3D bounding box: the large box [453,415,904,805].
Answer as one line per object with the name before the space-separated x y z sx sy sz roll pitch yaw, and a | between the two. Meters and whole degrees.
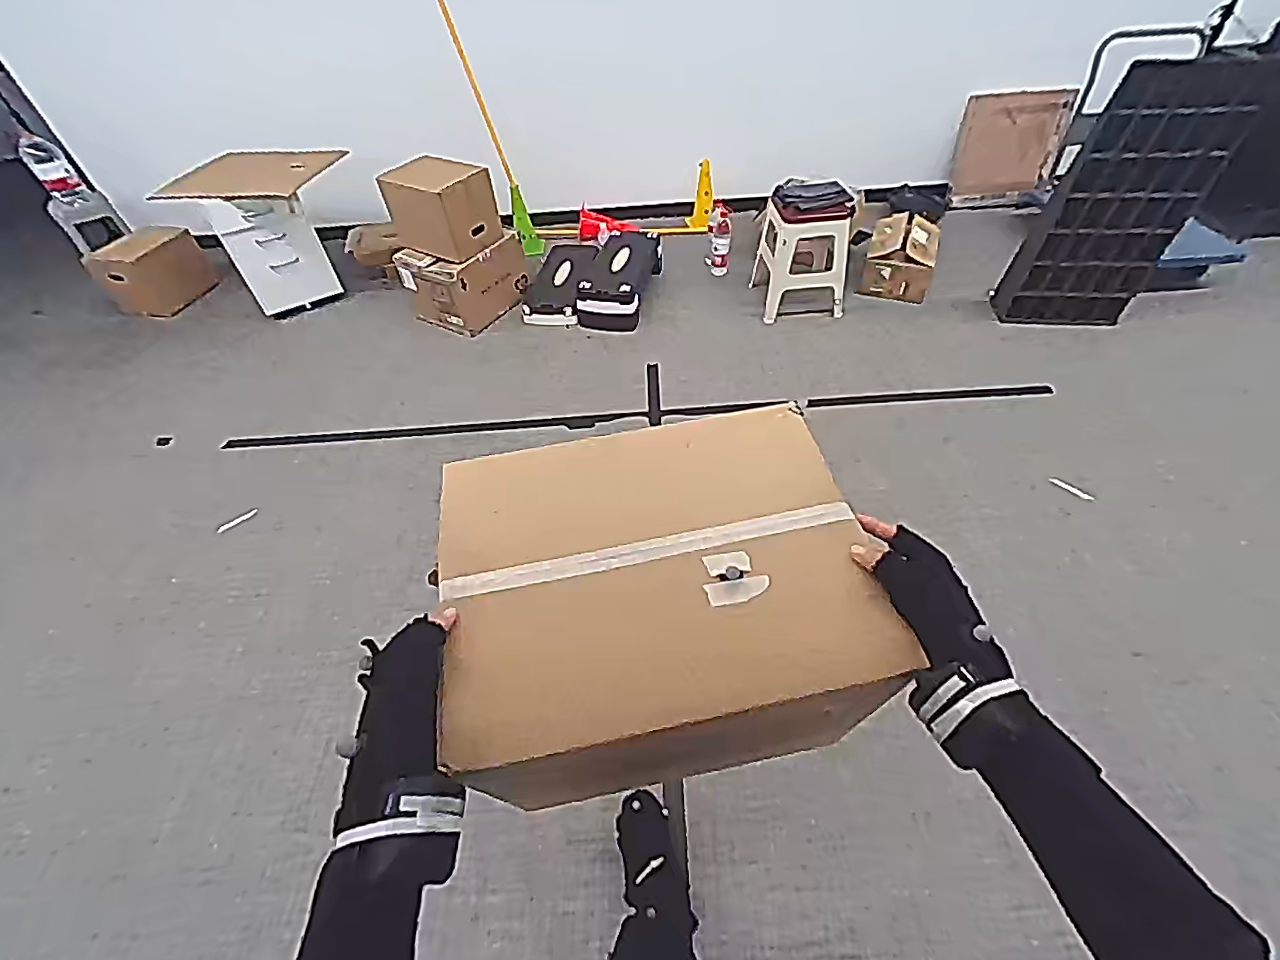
large box | 0.016 0.165 0.663 0.408 0.320 0.320 -10 55 -5
